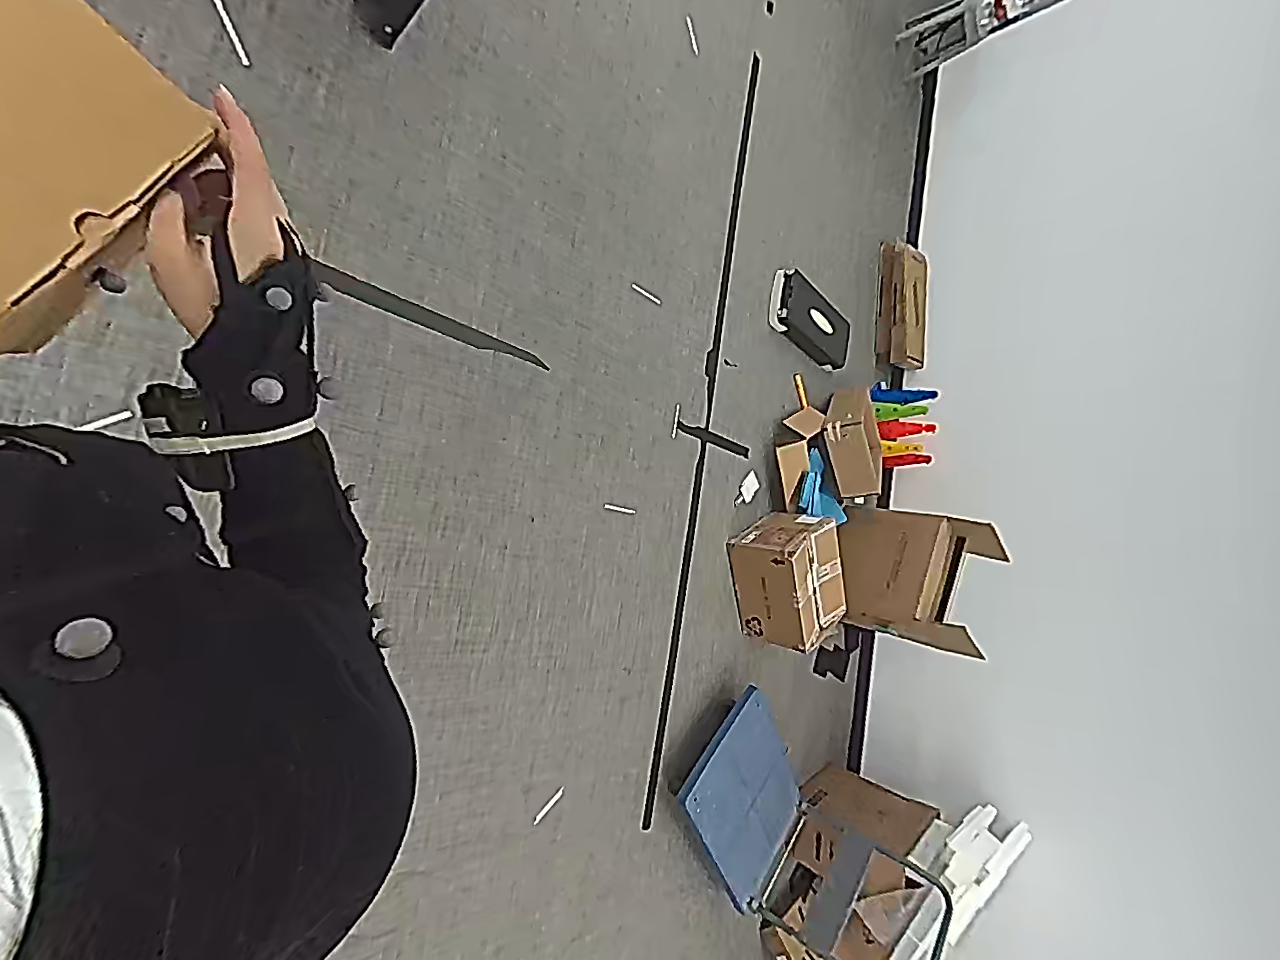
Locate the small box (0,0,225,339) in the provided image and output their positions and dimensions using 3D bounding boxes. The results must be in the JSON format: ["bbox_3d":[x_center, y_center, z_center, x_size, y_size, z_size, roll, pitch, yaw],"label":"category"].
[{"bbox_3d":[-0.369,-0.186,0.279,0.168,0.176,0.179,-56,132,-16],"label":"small box"}]
